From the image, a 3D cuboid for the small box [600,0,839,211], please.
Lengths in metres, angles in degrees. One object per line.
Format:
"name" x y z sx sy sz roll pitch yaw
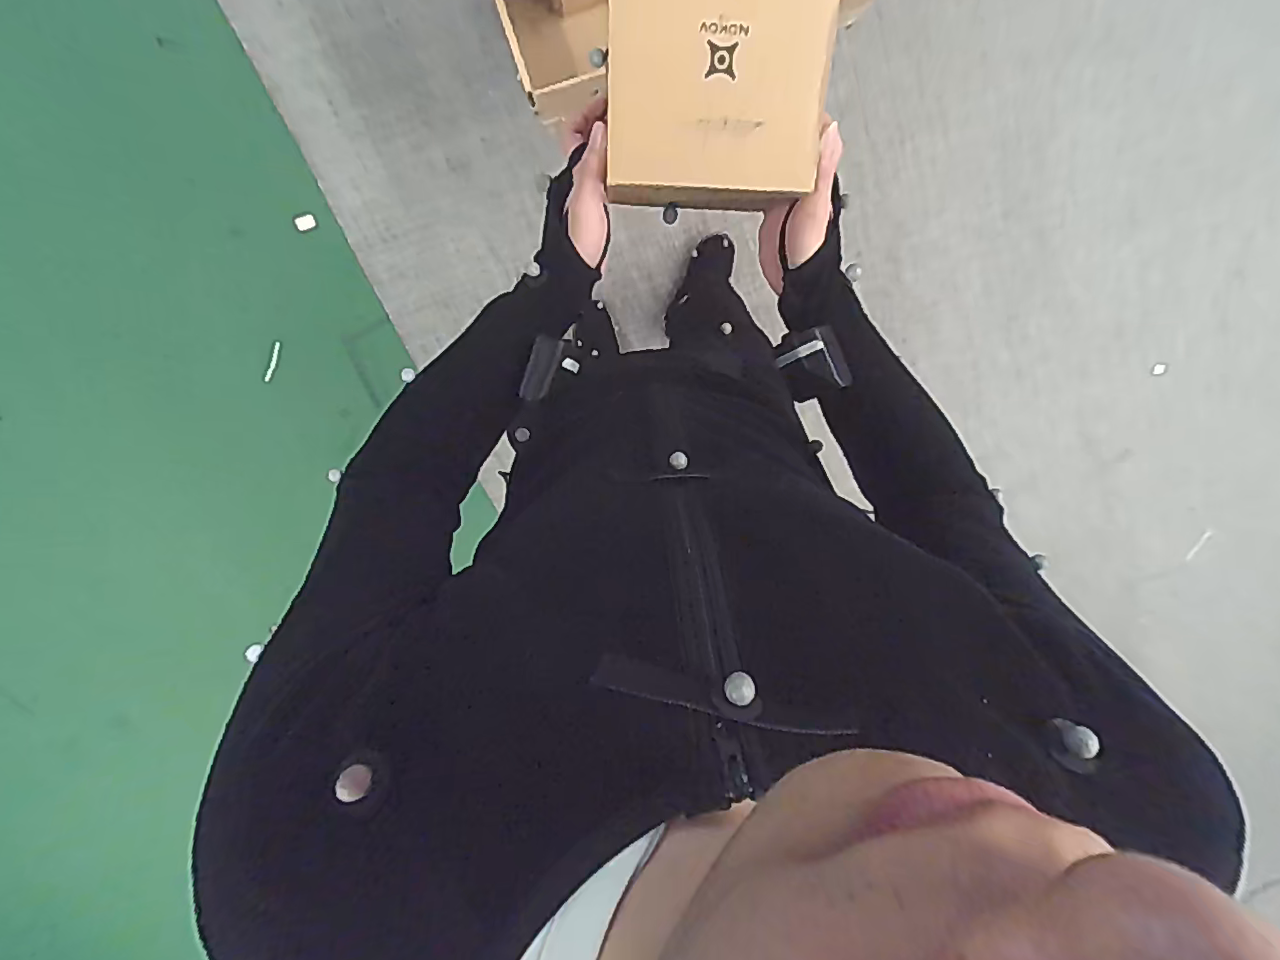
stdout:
"small box" 0.051 -0.337 0.454 0.168 0.176 0.179 1 111 -4
